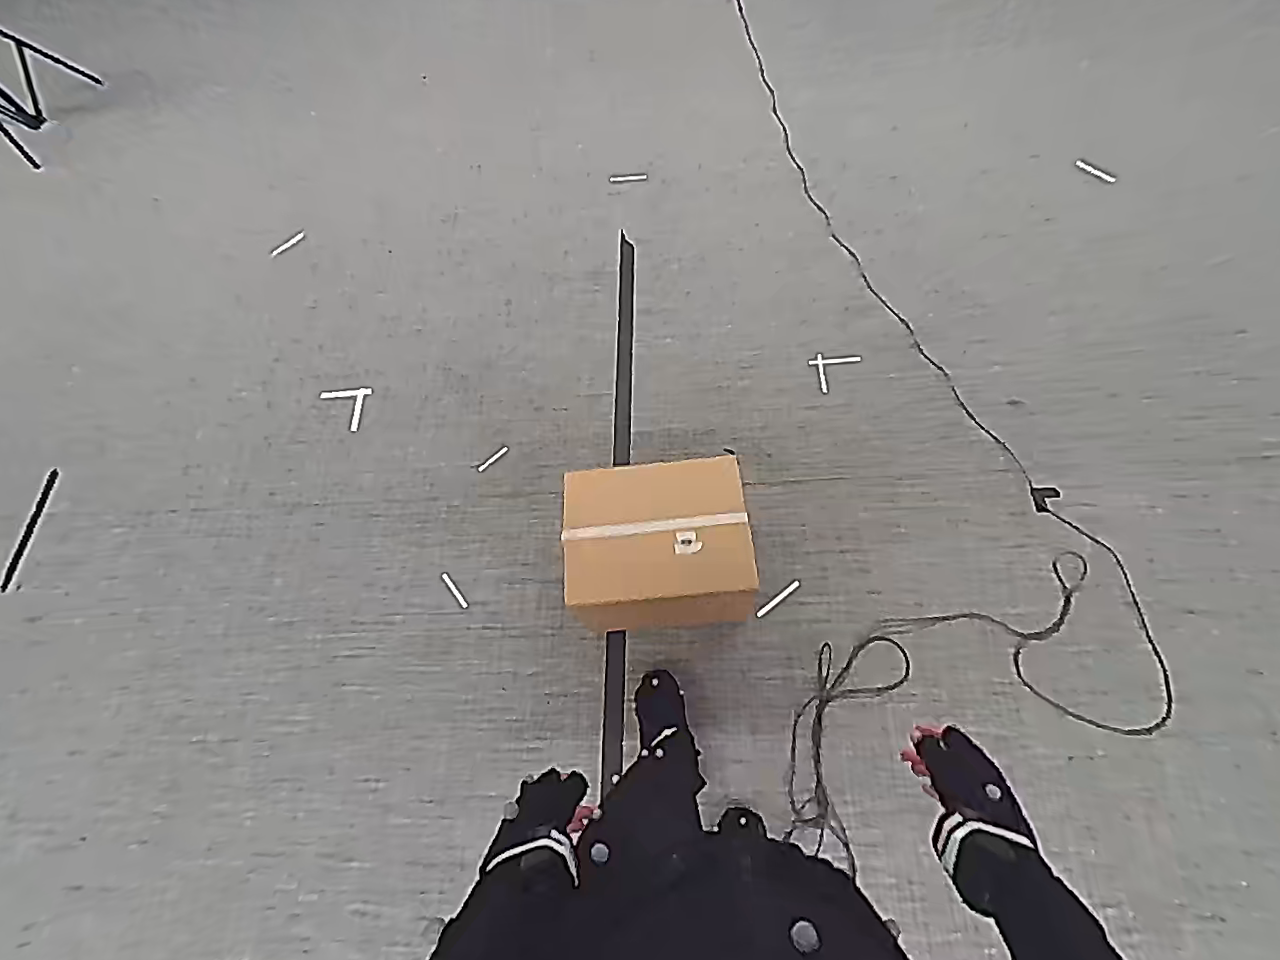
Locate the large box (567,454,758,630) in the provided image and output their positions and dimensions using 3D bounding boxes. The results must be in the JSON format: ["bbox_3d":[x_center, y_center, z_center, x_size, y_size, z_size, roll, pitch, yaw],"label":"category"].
[{"bbox_3d":[0.047,0.162,1.316,0.408,0.320,0.320,-5,62,3],"label":"large box"}]
